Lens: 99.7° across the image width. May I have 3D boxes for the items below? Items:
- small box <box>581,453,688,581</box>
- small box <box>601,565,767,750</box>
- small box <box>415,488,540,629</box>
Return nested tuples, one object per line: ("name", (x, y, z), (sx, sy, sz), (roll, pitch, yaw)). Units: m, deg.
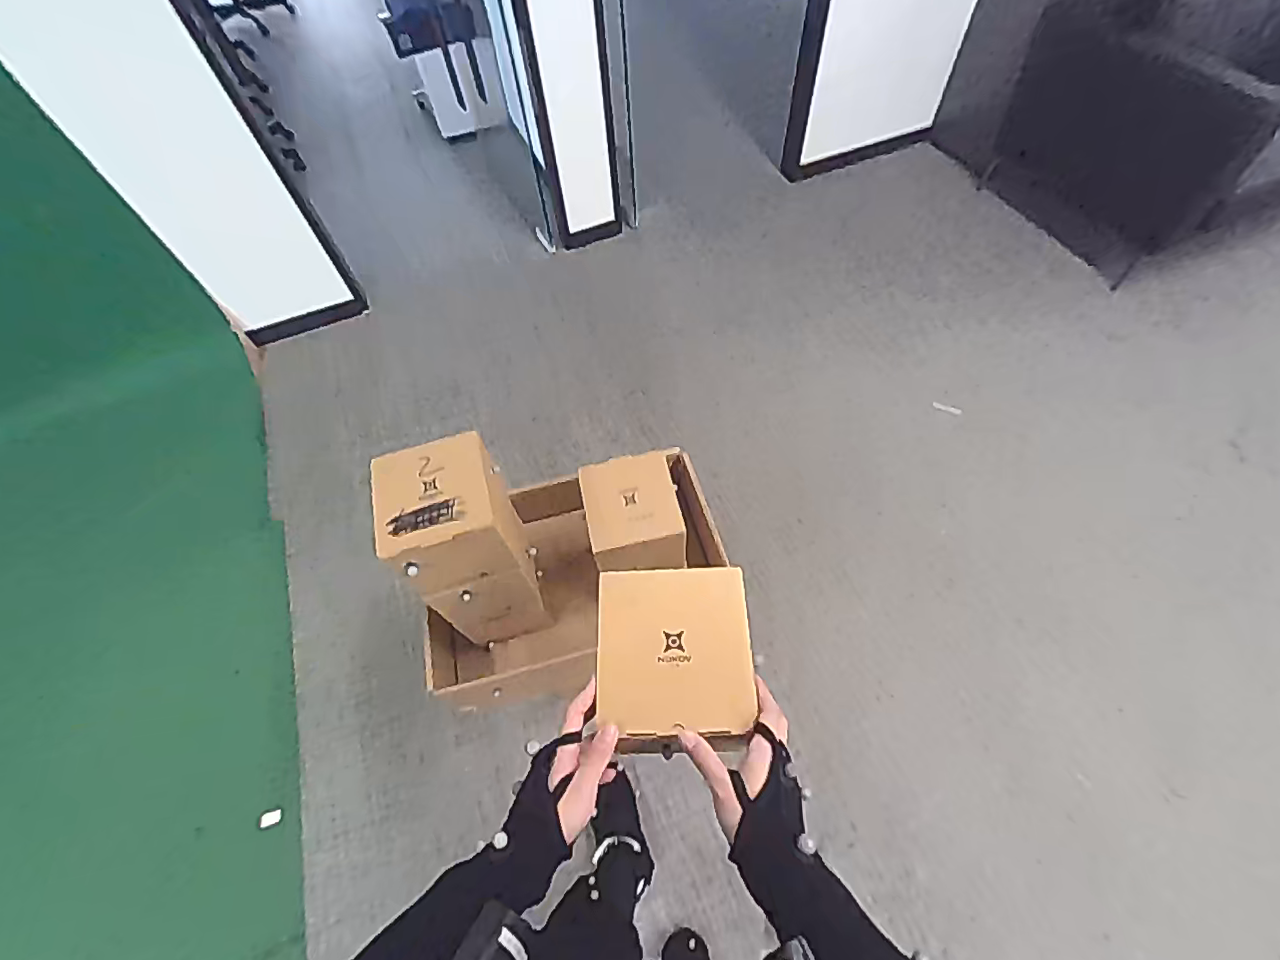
("small box", (-0.010, 0.078, 1.016), (0.168, 0.176, 0.179), (-12, 59, -3))
("small box", (0.045, 0.214, 0.638), (0.168, 0.176, 0.179), (-2, 60, 2))
("small box", (-0.292, 0.146, 0.990), (0.168, 0.176, 0.179), (-17, 59, -7))
